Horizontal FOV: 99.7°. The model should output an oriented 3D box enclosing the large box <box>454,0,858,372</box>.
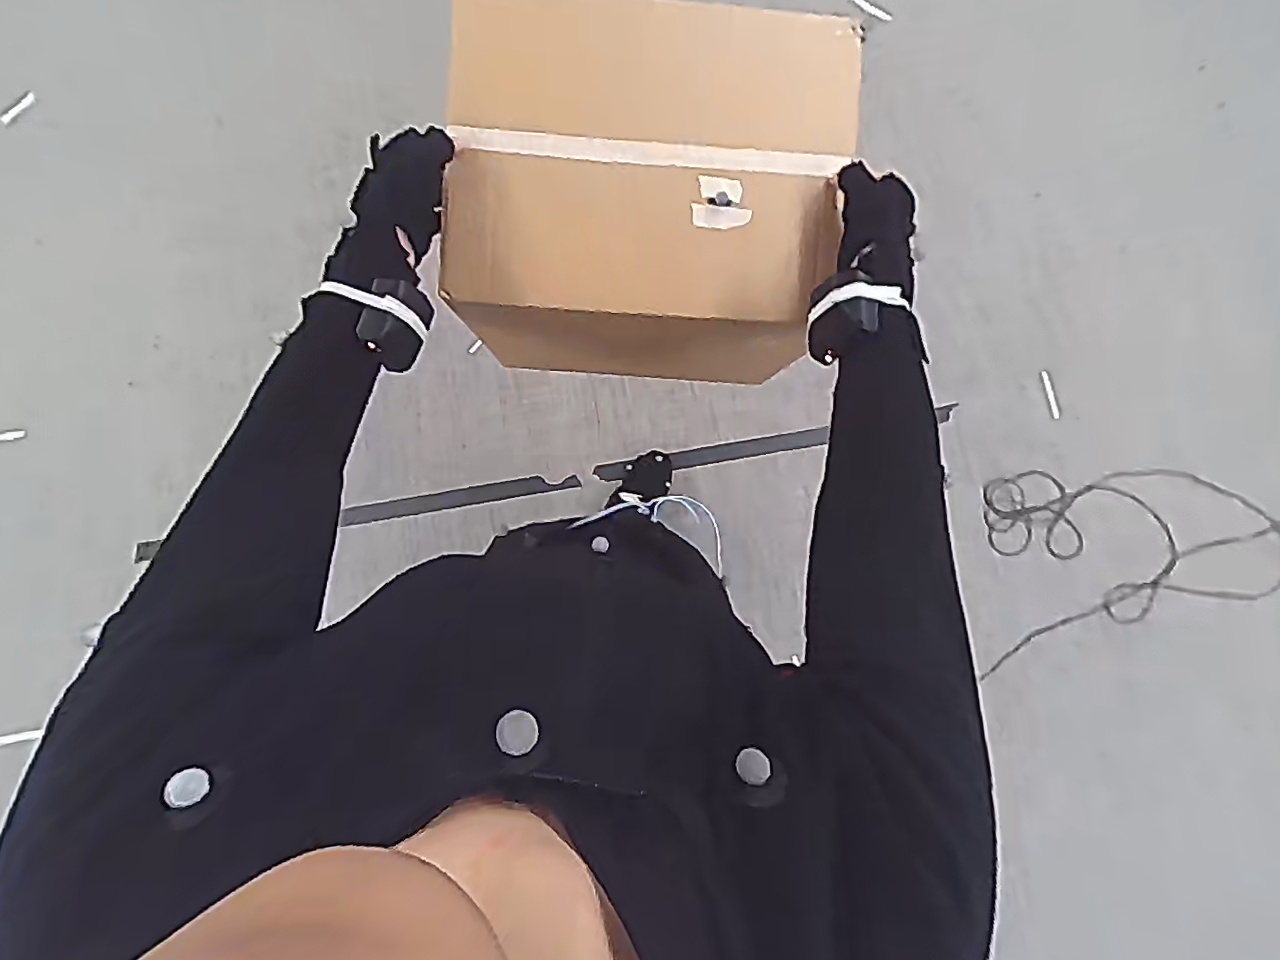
[{"bbox_3d":[0.010,-0.331,0.691,0.408,0.320,0.320,4,90,-4],"label":"large box"}]
